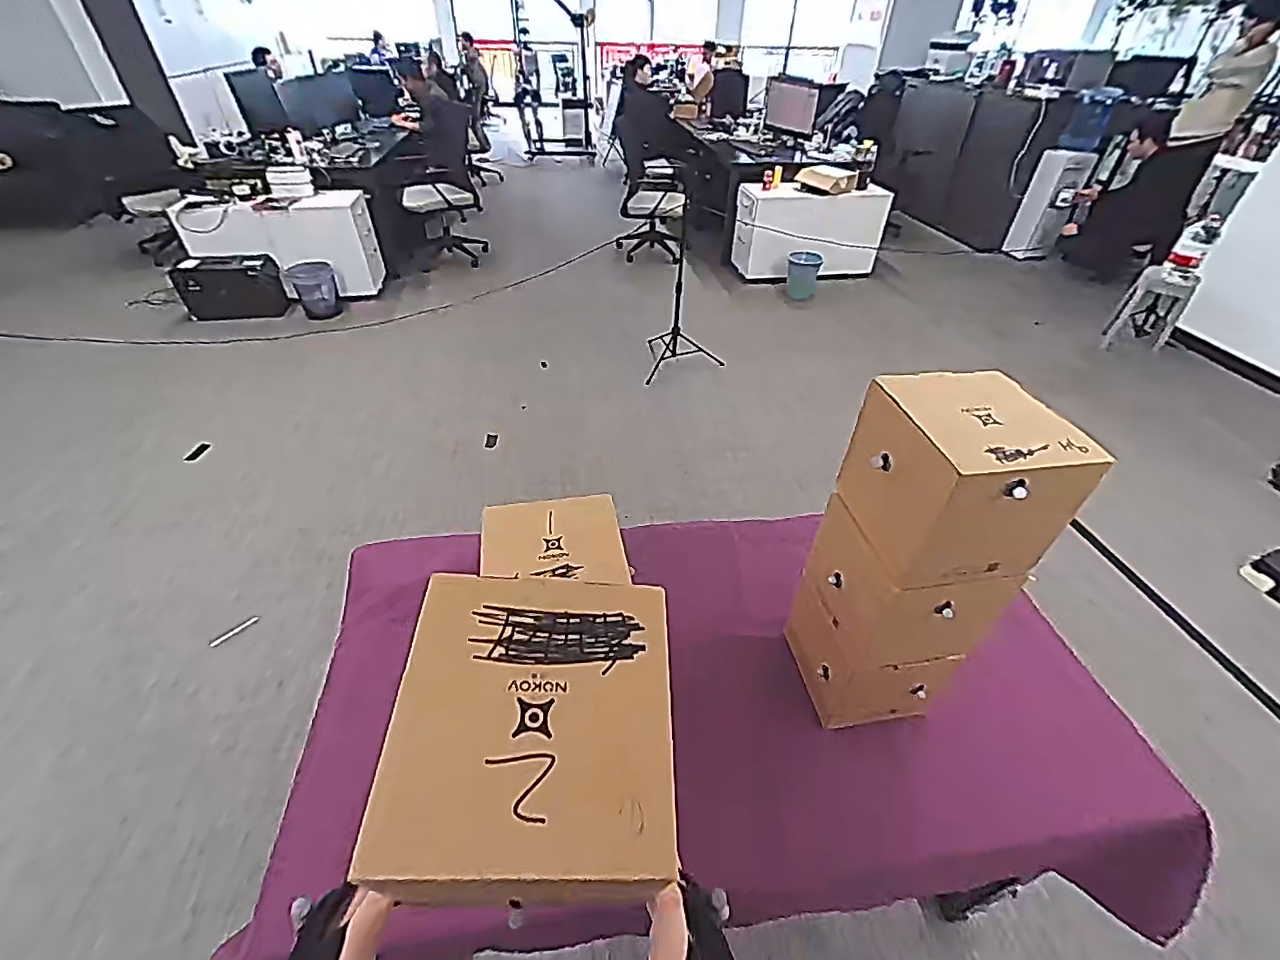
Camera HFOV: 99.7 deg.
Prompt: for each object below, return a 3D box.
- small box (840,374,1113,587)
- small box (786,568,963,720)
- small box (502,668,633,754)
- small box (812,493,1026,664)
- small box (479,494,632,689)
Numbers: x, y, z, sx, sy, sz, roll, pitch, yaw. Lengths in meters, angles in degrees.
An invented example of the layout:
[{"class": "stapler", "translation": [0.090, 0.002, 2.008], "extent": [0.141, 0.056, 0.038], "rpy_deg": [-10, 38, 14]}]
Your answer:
[{"class": "small box", "translation": [0.353, -0.003, 0.615], "extent": [0.168, 0.176, 0.179], "rpy_deg": [-5, 41, -8]}, {"class": "small box", "translation": [0.341, 0.247, 0.827], "extent": [0.168, 0.176, 0.179], "rpy_deg": [-4, 41, -8]}, {"class": "small box", "translation": [-0.106, 0.268, 0.789], "extent": [0.168, 0.176, 0.179], "rpy_deg": [-5, 42, -8]}, {"class": "small box", "translation": [0.345, 0.125, 0.717], "extent": [0.179, 0.176, 0.168], "rpy_deg": [-5, 42, -9]}, {"class": "small box", "translation": [-0.103, 0.143, 0.682], "extent": [0.168, 0.176, 0.179], "rpy_deg": [-6, 41, -9]}]
